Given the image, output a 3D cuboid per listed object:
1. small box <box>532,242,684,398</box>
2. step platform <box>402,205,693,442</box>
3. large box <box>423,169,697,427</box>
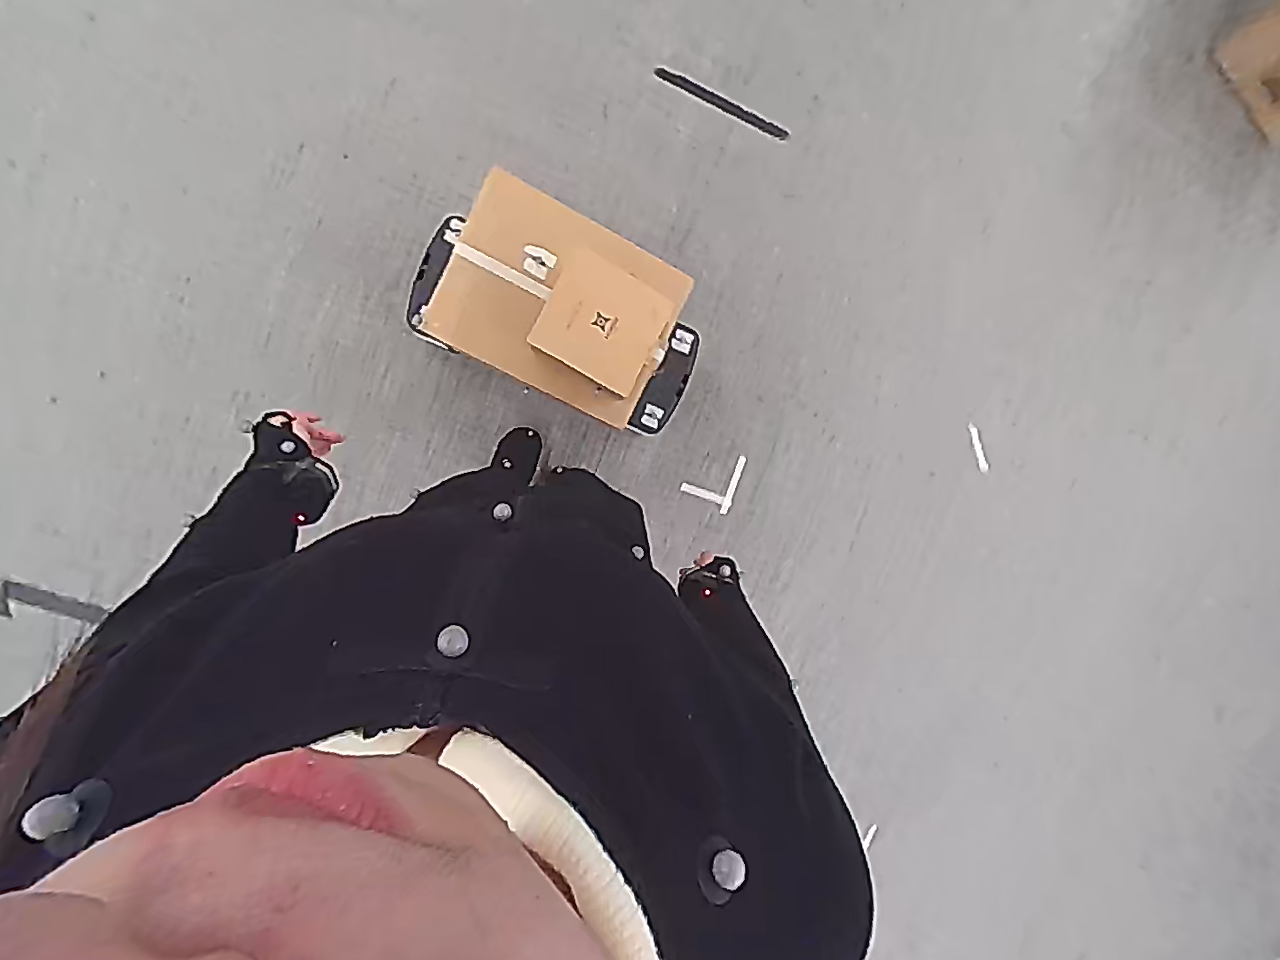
[{"bbox_3d":[-0.056,-0.247,0.878,0.179,0.176,0.168,29,92,-10],"label":"small box"},{"bbox_3d":[-0.211,-0.365,1.334,0.684,0.204,0.286,28,92,-10],"label":"step platform"},{"bbox_3d":[-0.152,-0.330,1.104,0.408,0.320,0.320,26,92,-9],"label":"large box"}]
